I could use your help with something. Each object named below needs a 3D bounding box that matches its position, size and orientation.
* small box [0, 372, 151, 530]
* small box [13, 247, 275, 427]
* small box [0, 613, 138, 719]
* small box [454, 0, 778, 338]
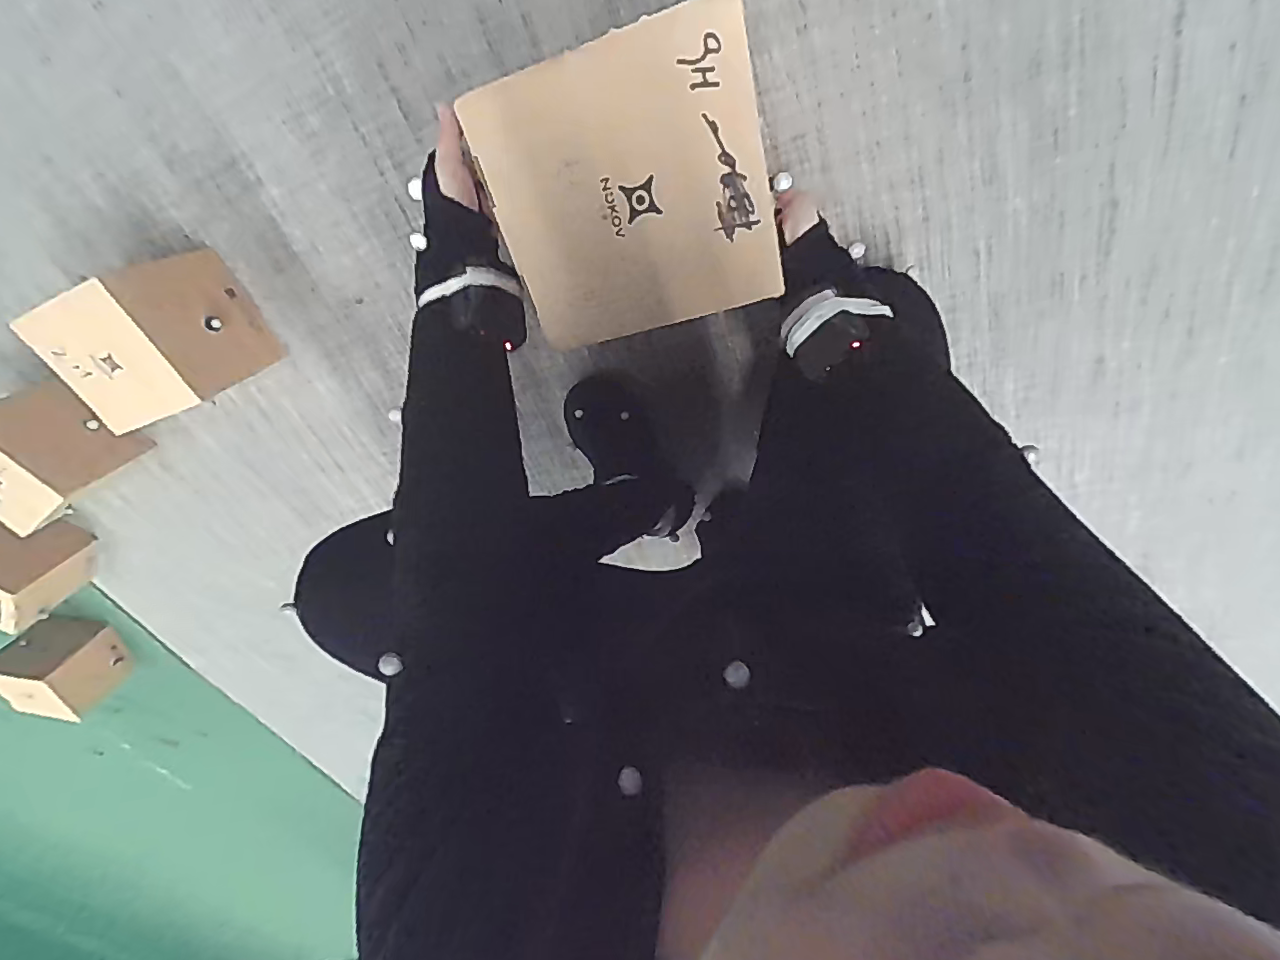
[{"bbox_3d":[-0.983,-0.052,0.897,0.179,0.176,0.168,-25,117,23],"label":"small box"},{"bbox_3d":[-0.649,-0.199,0.739,0.179,0.176,0.168,-13,120,18],"label":"small box"},{"bbox_3d":[-1.397,0.445,1.310,0.179,0.176,0.168,7,125,5],"label":"small box"},{"bbox_3d":[0.002,-0.230,0.409,0.179,0.176,0.168,-10,123,16],"label":"small box"}]
